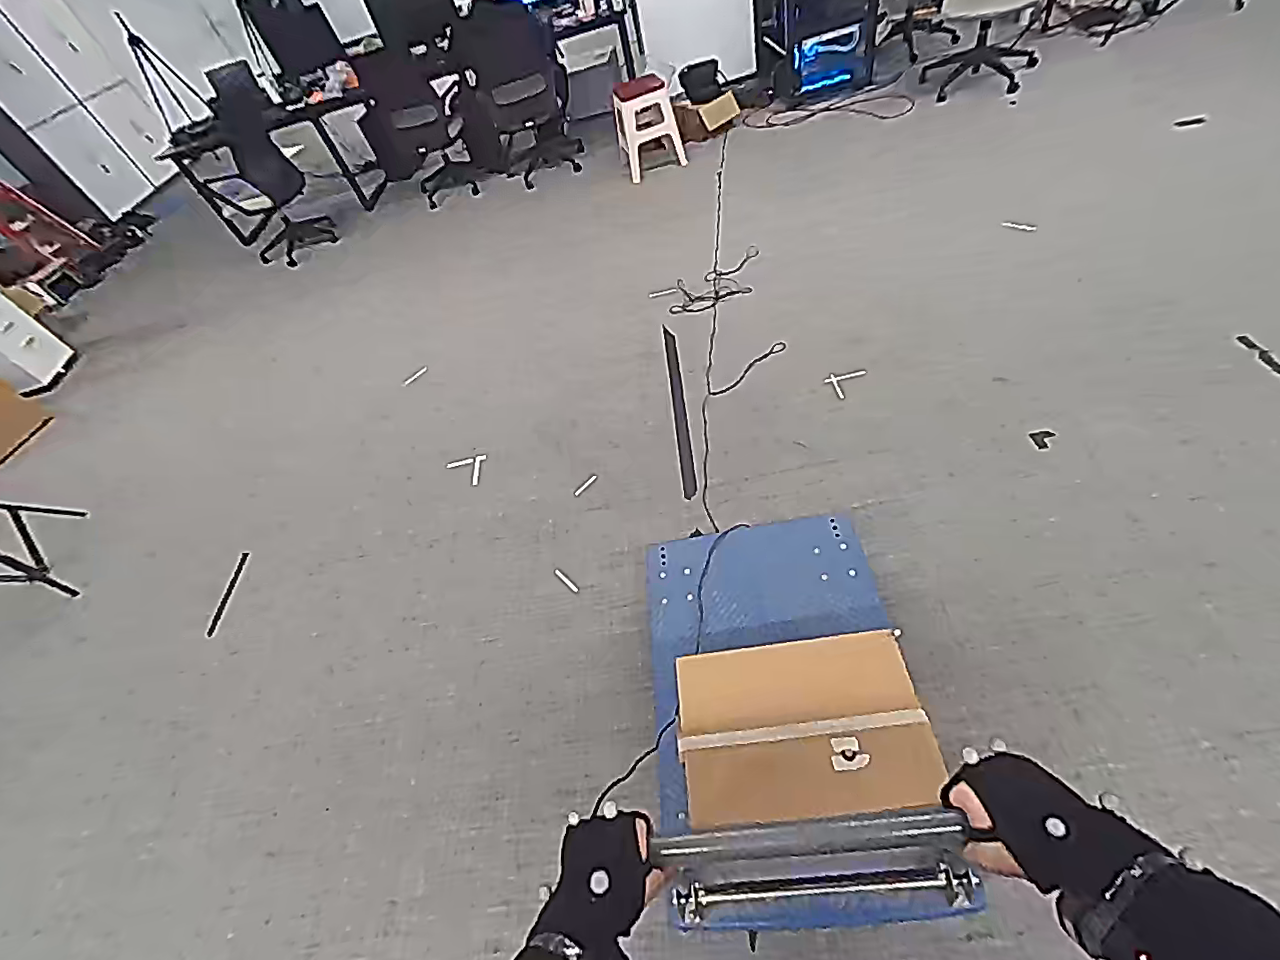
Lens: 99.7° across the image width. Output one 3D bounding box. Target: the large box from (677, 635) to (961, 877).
[{"bbox_3d":[0.301,0.527,1.018,0.408,0.320,0.320,-10,49,8],"label":"large box"}]
